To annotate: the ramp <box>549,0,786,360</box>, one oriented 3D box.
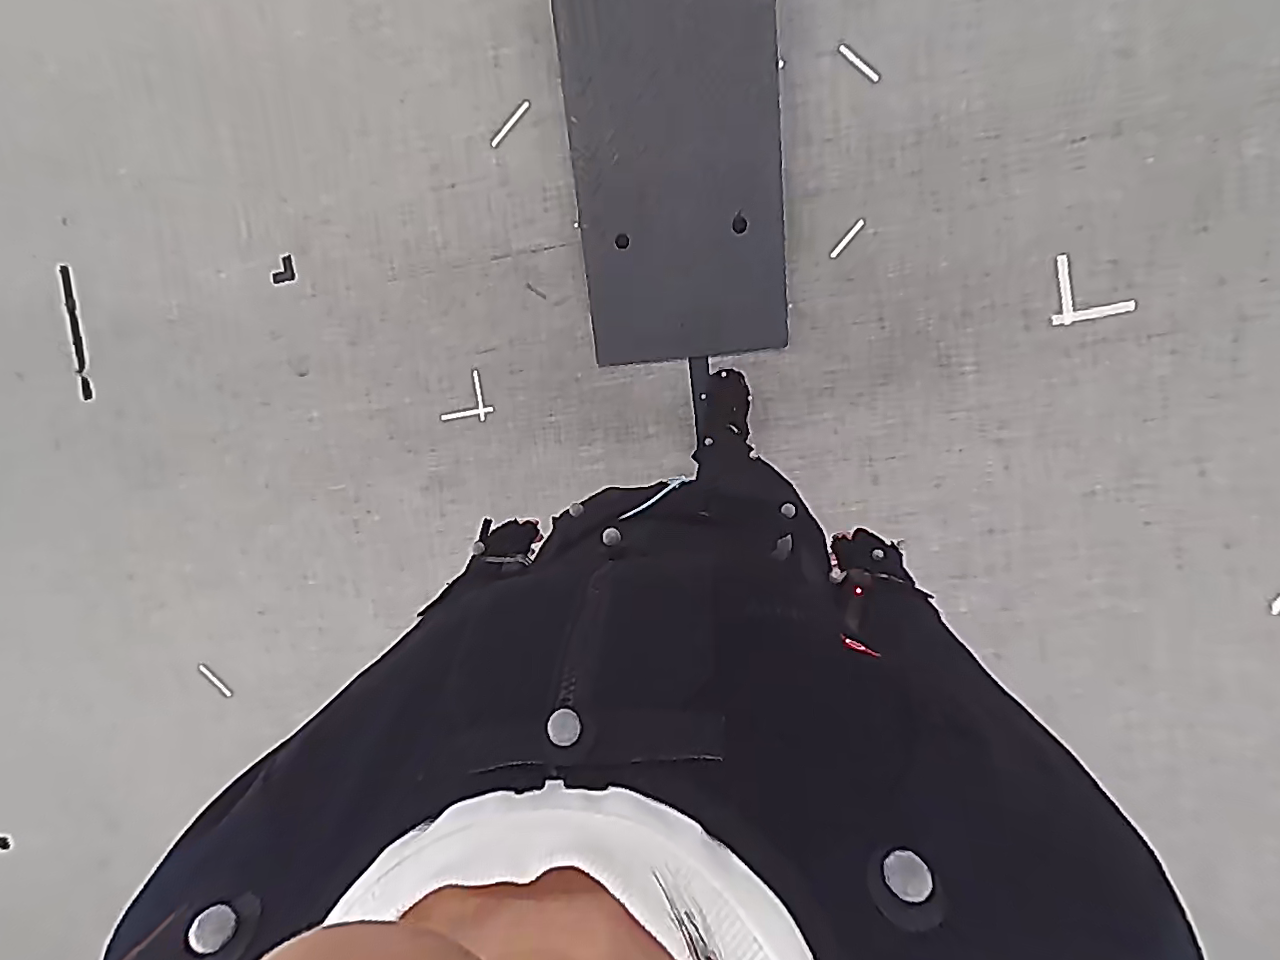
[{"bbox_3d":[0.073,-0.808,1.251,0.509,0.206,0.991,-6,96,8],"label":"ramp"}]
